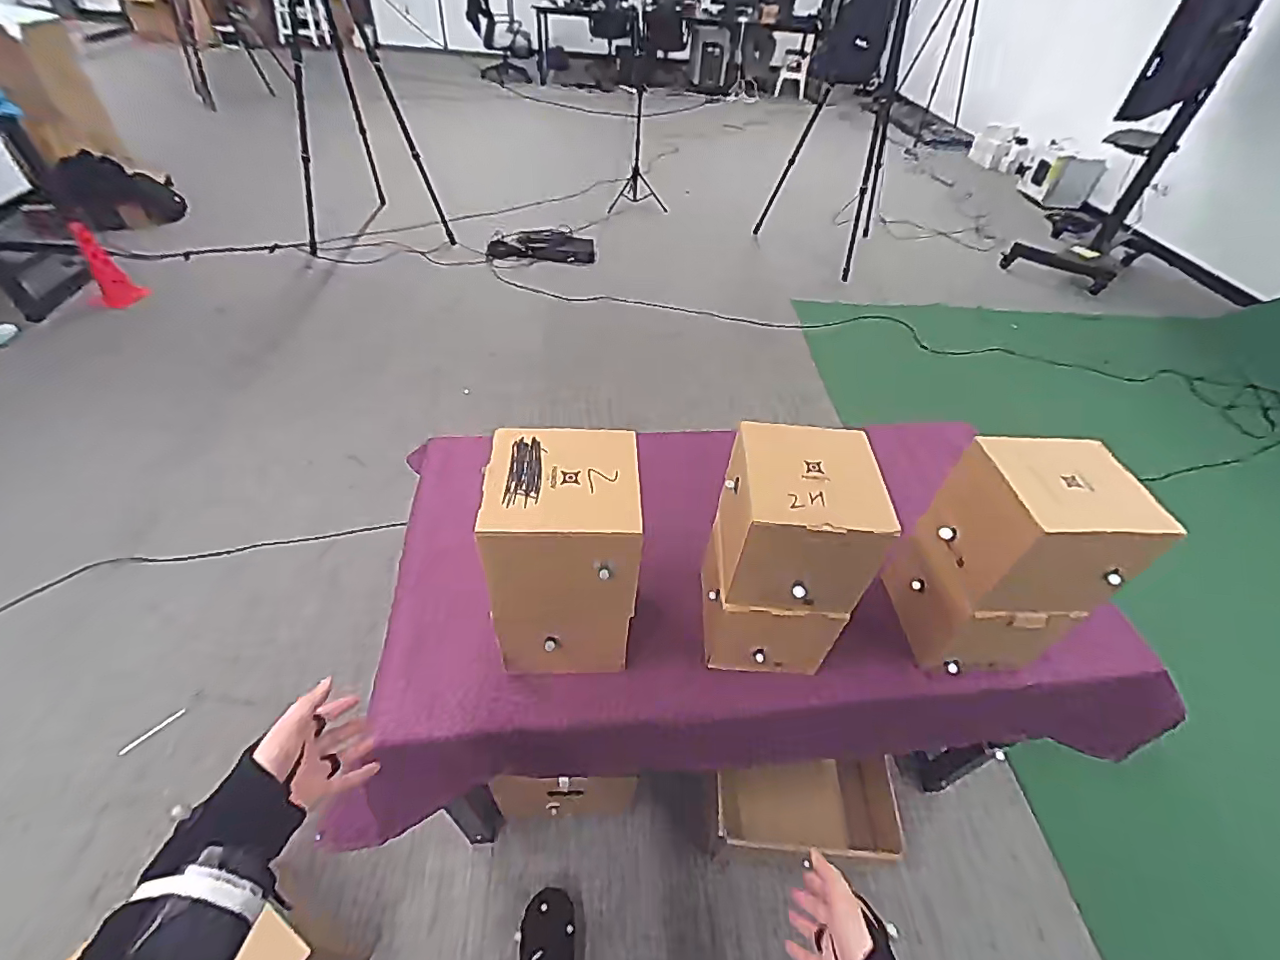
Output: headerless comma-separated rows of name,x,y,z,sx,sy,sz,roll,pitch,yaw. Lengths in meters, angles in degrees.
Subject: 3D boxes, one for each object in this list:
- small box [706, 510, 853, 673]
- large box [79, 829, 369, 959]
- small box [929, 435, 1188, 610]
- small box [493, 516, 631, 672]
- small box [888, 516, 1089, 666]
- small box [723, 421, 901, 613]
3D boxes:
small box,0.194,0.167,0.815,0.168,0.176,0.179,4,46,-1
large box,-0.770,0.924,0.927,0.320,0.320,0.408,27,49,19
small box,0.528,0.059,0.716,0.179,0.176,0.168,1,45,-3
small box,-0.103,0.168,0.788,0.179,0.176,0.168,0,47,-3
small box,0.515,0.173,0.831,0.168,0.176,0.179,0,45,-4
small box,0.204,0.048,0.702,0.168,0.176,0.179,4,47,0
